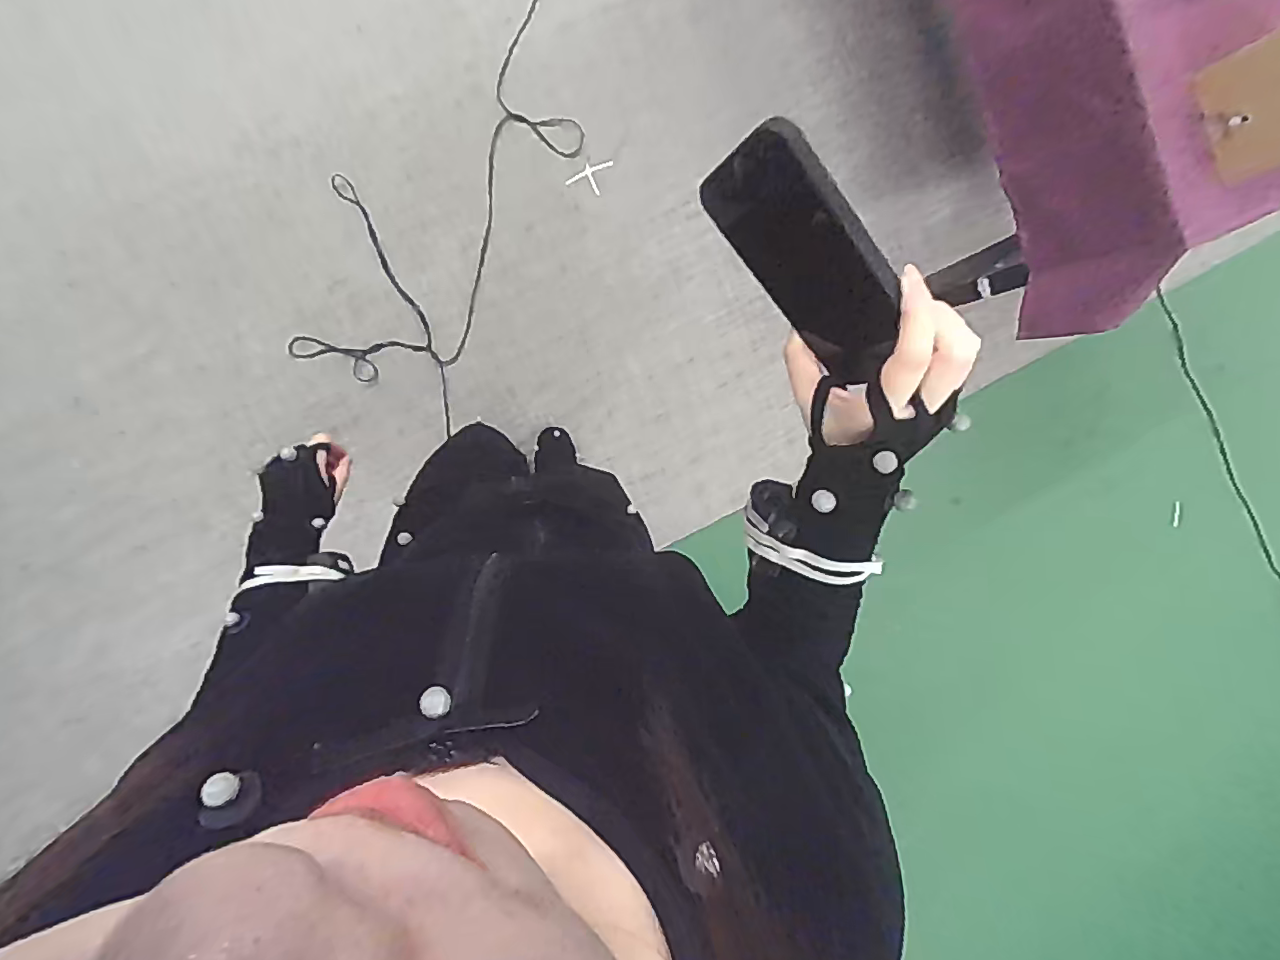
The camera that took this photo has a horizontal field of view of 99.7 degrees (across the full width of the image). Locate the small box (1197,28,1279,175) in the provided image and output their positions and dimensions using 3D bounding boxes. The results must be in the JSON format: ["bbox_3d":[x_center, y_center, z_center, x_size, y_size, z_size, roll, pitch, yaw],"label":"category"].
[{"bbox_3d":[0.956,-0.561,0.758,0.168,0.176,0.179,-27,100,-5],"label":"small box"}]
